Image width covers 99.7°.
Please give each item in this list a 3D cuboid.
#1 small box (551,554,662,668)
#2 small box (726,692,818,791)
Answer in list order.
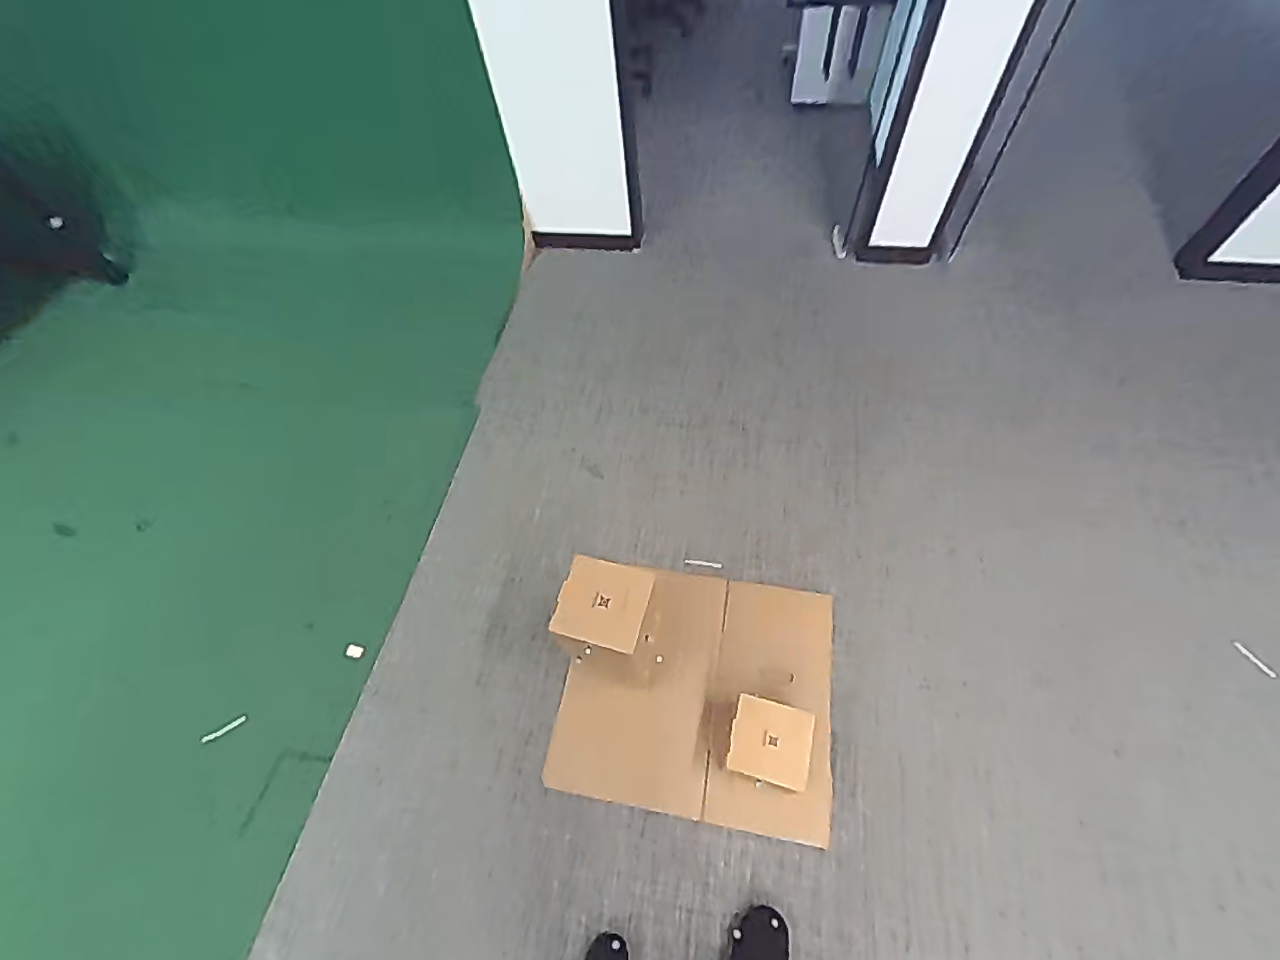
[{"bbox_3d":[-0.061,0.279,1.134,0.179,0.176,0.168,13,62,13],"label":"small box"},{"bbox_3d":[0.307,0.620,1.279,0.179,0.176,0.168,11,61,13],"label":"small box"}]
